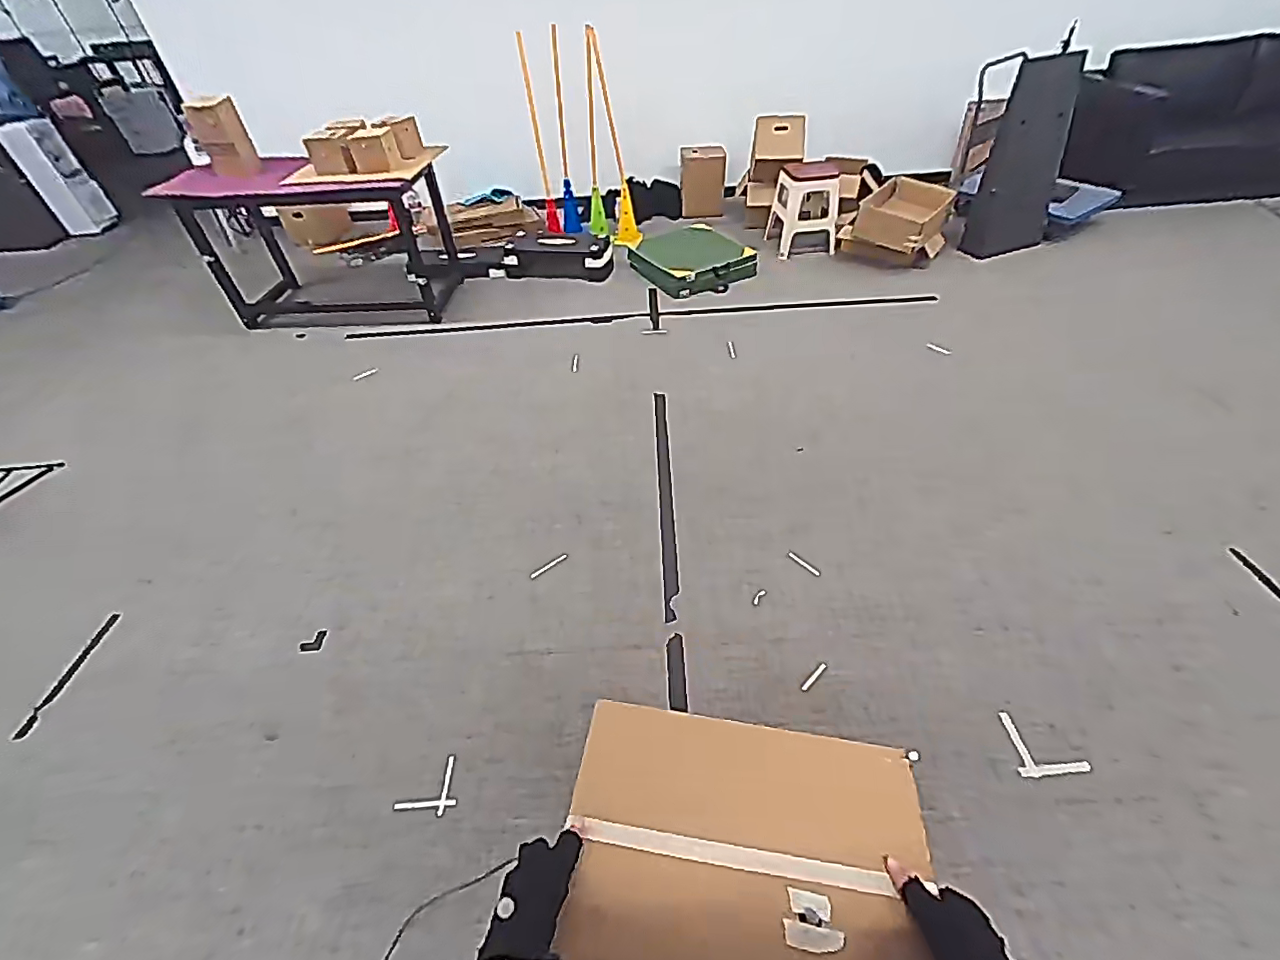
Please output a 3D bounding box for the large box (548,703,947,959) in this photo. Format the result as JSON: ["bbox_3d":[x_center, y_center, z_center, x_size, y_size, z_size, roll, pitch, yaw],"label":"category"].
[{"bbox_3d":[0.118,0.538,0.700,0.408,0.320,0.320,7,40,7],"label":"large box"}]
